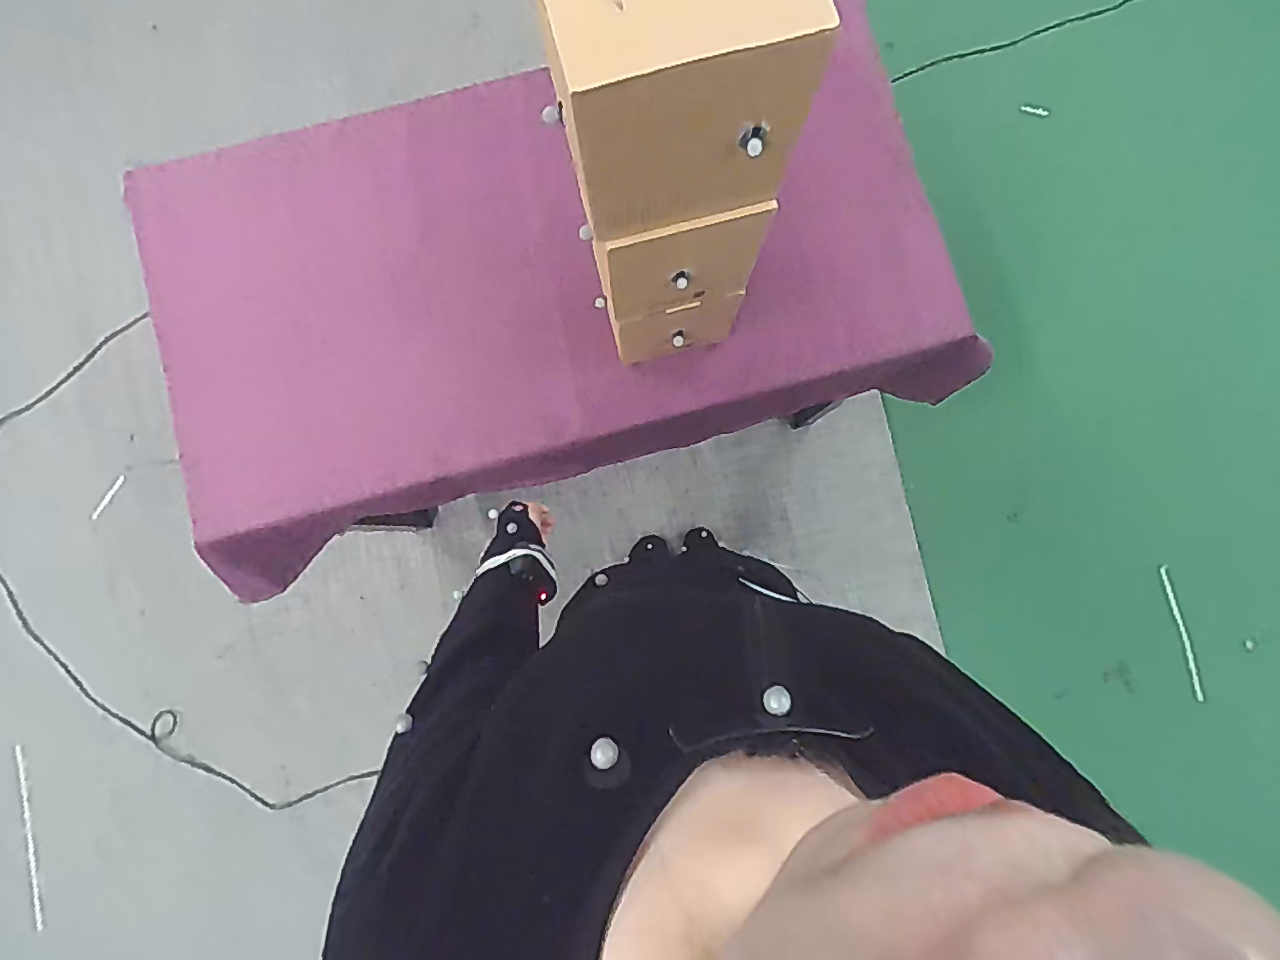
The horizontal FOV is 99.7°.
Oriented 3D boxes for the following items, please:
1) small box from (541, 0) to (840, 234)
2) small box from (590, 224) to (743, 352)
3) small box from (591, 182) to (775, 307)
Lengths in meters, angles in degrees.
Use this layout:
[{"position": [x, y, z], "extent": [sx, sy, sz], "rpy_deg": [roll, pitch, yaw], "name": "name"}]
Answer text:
[{"position": [0.023, -0.325, 0.420], "extent": [0.179, 0.176, 0.168], "rpy_deg": [-14, 84, -1], "name": "small box"}, {"position": [0.030, -0.290, 0.747], "extent": [0.168, 0.176, 0.179], "rpy_deg": [-14, 86, -2], "name": "small box"}, {"position": [0.027, -0.305, 0.582], "extent": [0.168, 0.176, 0.179], "rpy_deg": [-14, 85, -2], "name": "small box"}]
